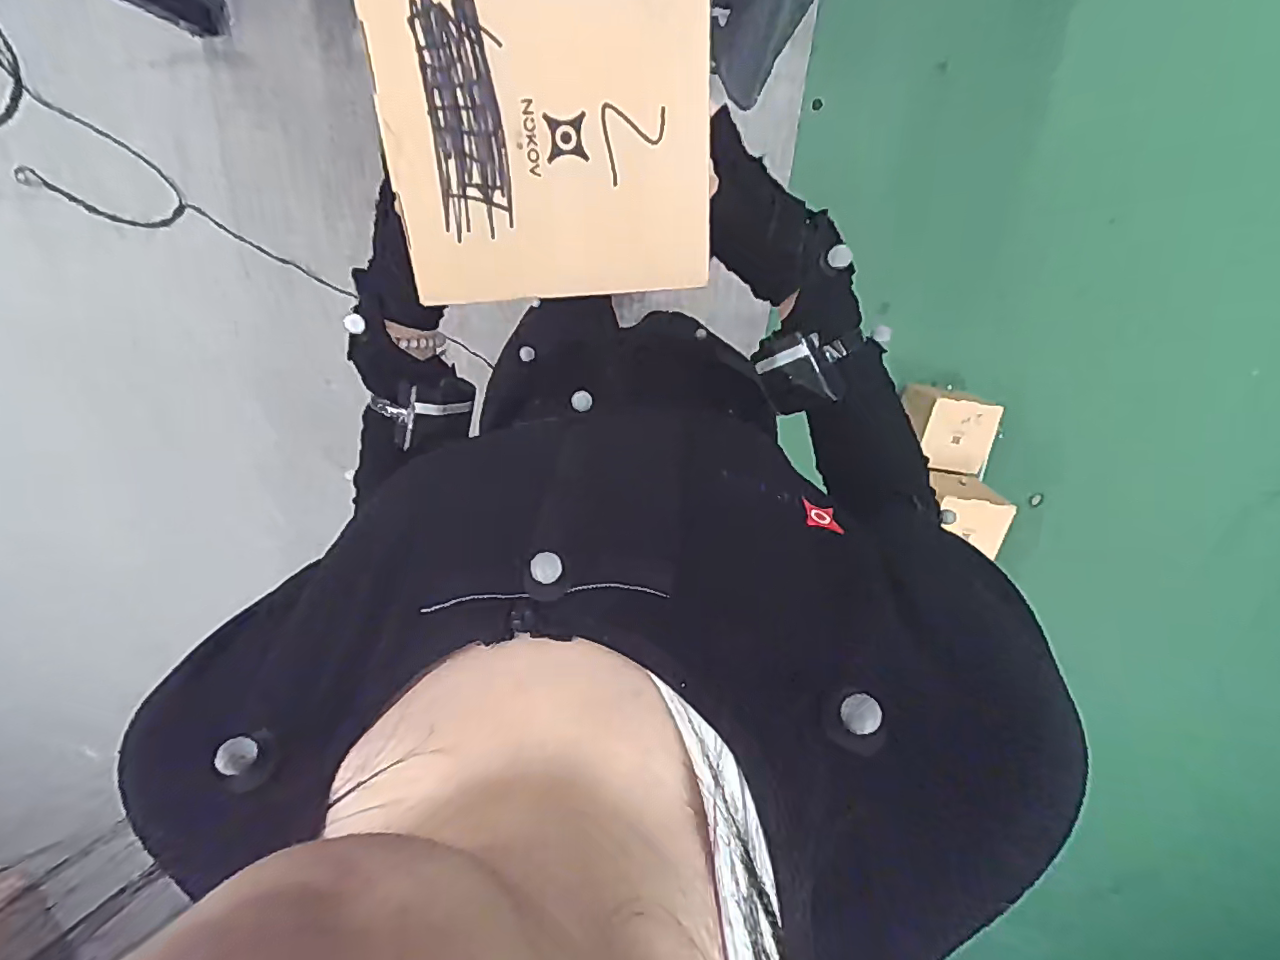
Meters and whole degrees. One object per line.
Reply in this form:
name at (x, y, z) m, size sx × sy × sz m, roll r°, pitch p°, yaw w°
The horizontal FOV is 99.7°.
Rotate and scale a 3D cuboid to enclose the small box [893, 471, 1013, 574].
small box at (0.735, 0.098, 1.296) m, size 0.168 × 0.176 × 0.179 m, roll 10°, pitch 111°, yaw -1°
